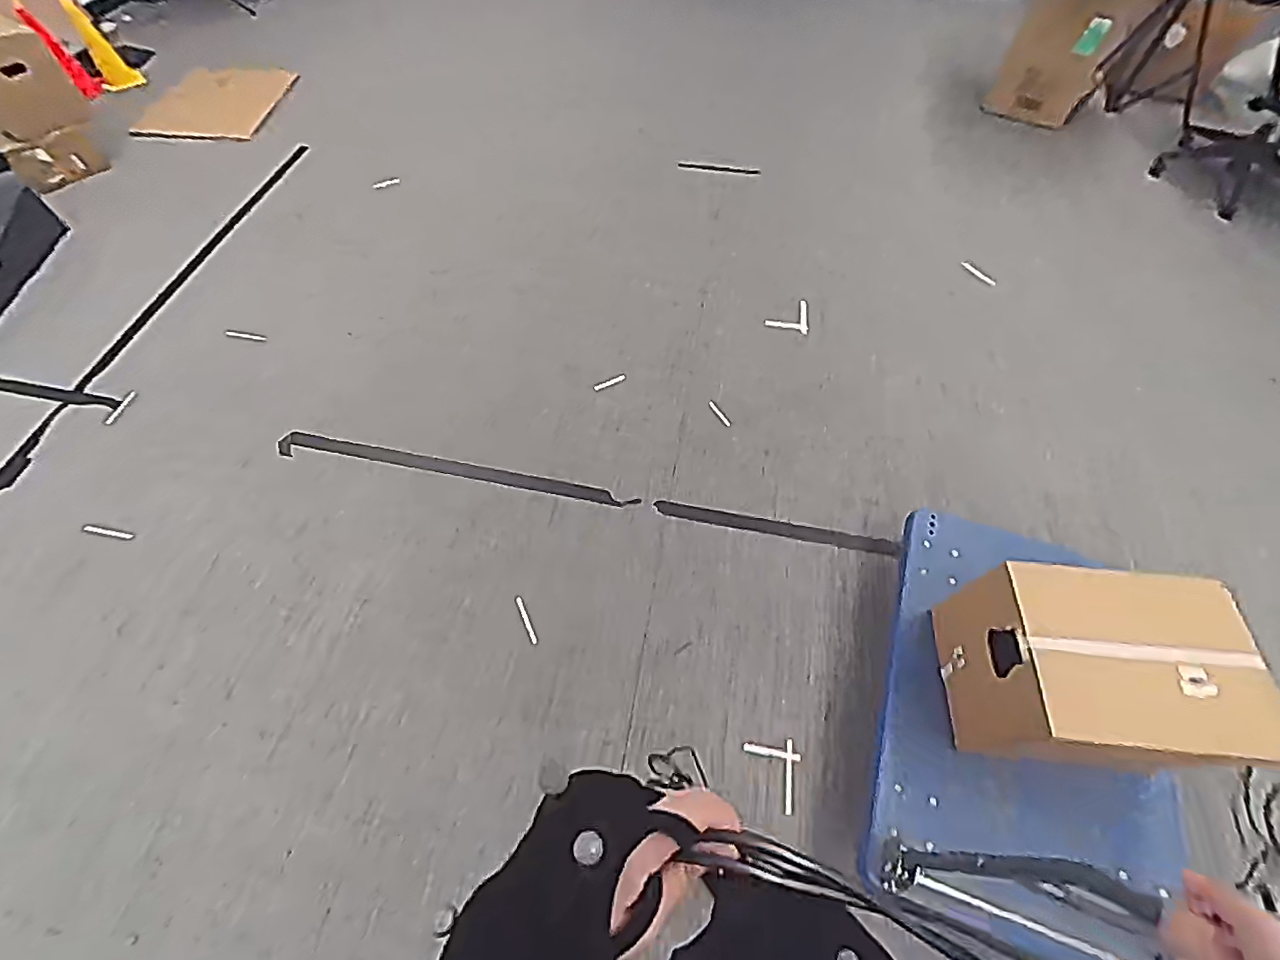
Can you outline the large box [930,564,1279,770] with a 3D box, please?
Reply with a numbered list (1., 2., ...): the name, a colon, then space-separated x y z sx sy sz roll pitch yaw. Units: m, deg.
1. large box: 0.871 0.380 1.073 0.408 0.320 0.320 5 60 2
